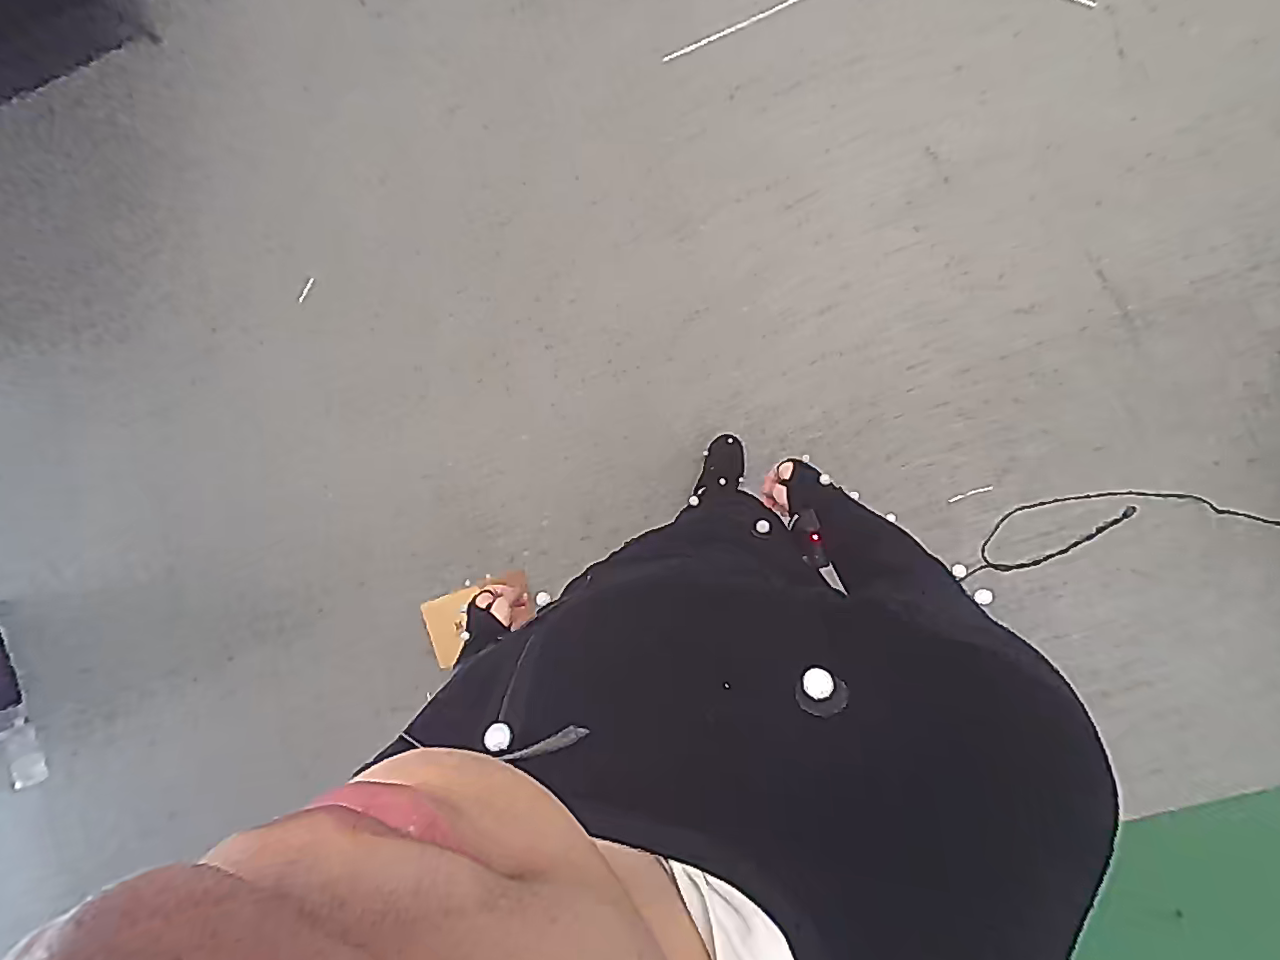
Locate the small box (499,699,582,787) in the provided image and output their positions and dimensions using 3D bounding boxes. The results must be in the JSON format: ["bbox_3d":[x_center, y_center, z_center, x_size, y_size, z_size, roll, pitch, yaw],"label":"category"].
[{"bbox_3d":[-0.283,0.775,1.582,0.168,0.176,0.179,-20,87,6],"label":"small box"}]

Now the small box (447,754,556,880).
[{"bbox_3d":[-0.309,0.770,1.255,0.179,0.176,0.168,-22,87,7],"label":"small box"}]

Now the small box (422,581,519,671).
[{"bbox_3d":[-0.444,0.378,1.439,0.168,0.176,0.179,-20,89,6],"label":"small box"}]

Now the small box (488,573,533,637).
[{"bbox_3d":[-0.431,0.385,1.601,0.179,0.176,0.168,-18,87,5],"label":"small box"}]
